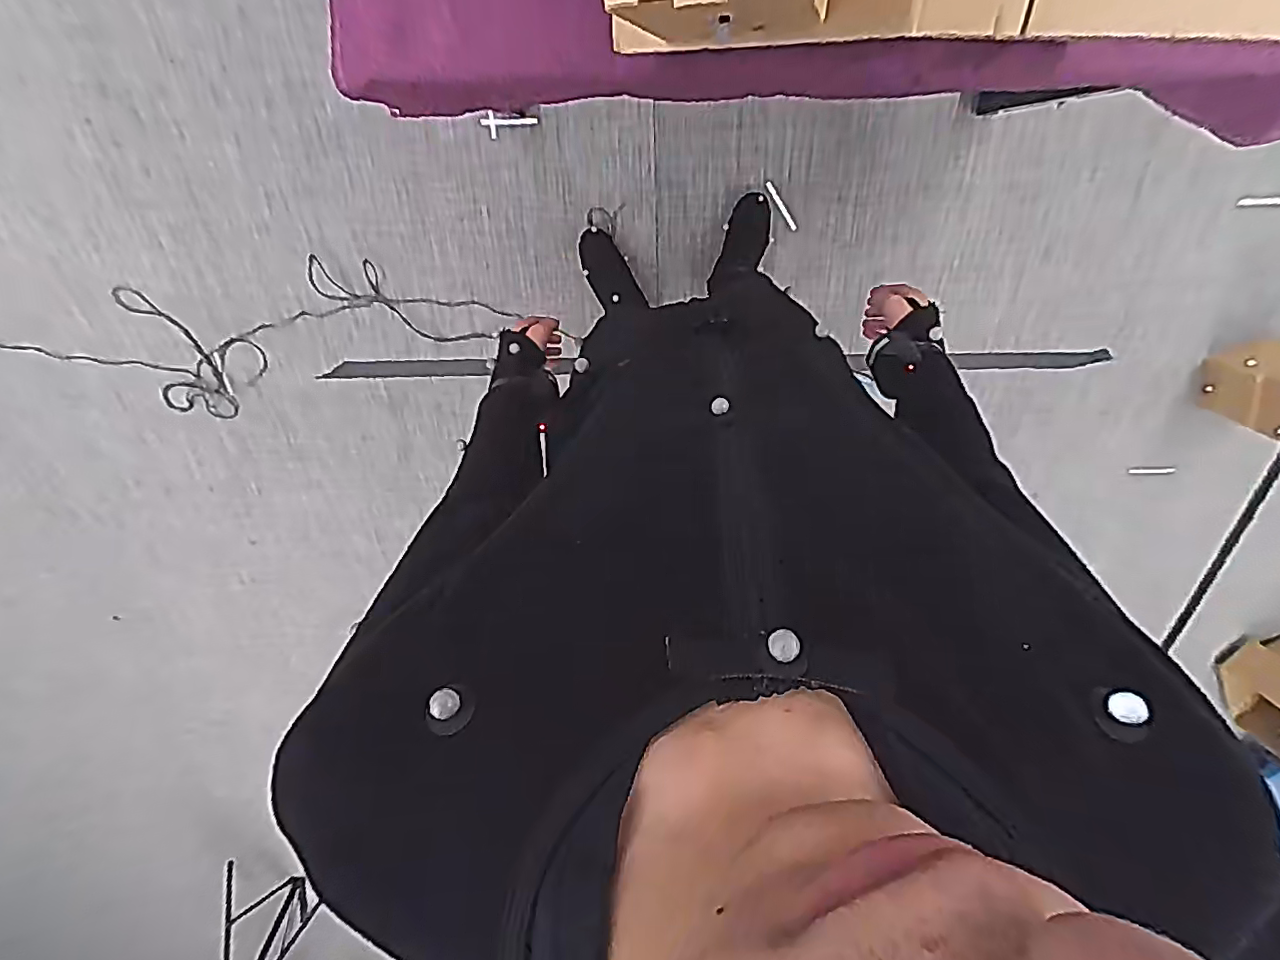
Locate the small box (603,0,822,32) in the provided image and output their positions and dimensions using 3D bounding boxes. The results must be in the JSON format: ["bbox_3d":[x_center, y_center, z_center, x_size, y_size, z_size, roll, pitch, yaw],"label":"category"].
[{"bbox_3d":[0.070,-0.491,0.442,0.168,0.176,0.179,9,123,18],"label":"small box"}]
